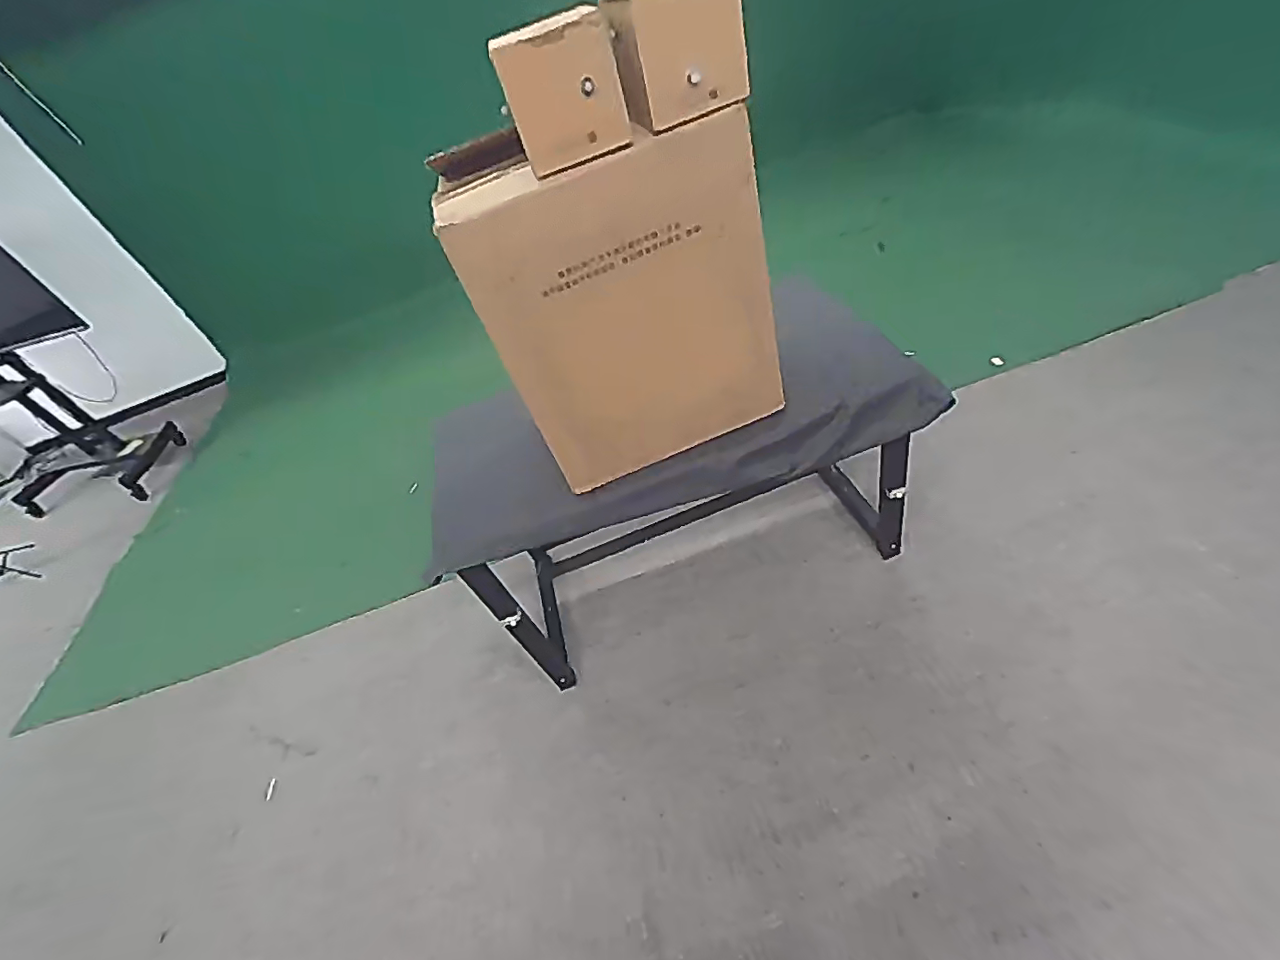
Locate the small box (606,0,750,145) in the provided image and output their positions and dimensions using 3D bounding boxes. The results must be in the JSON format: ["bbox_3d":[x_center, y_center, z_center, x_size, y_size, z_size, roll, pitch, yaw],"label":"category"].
[{"bbox_3d":[0.061,-0.662,0.866,0.168,0.176,0.179,-23,43,-2],"label":"small box"}]
